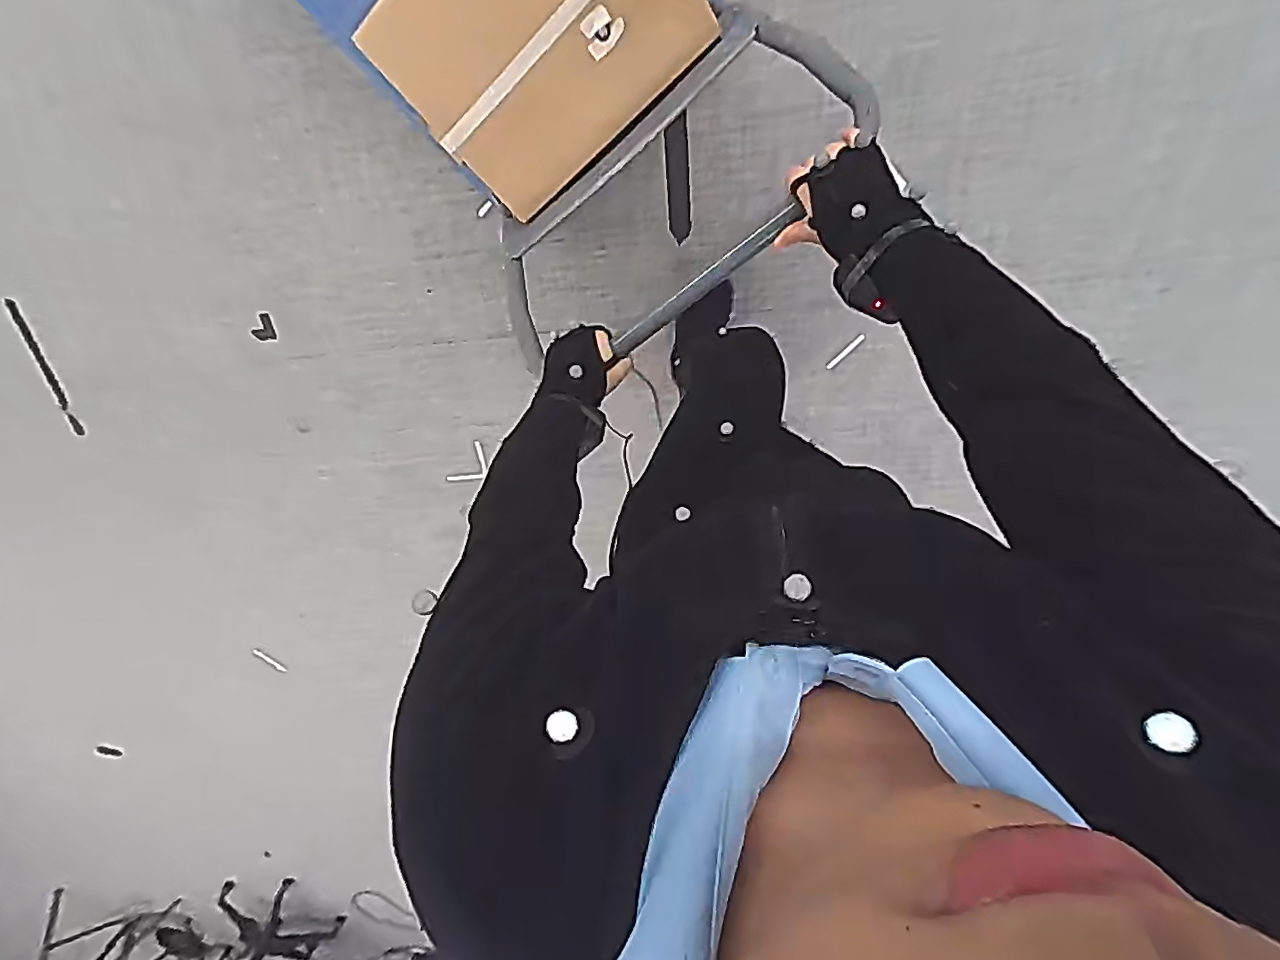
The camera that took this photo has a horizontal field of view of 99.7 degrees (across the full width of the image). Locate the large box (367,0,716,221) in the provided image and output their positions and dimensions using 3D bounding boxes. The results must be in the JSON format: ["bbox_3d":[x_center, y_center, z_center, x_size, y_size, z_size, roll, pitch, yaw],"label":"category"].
[{"bbox_3d":[-0.157,-0.718,0.864,0.408,0.320,0.320,-36,131,19],"label":"large box"}]
